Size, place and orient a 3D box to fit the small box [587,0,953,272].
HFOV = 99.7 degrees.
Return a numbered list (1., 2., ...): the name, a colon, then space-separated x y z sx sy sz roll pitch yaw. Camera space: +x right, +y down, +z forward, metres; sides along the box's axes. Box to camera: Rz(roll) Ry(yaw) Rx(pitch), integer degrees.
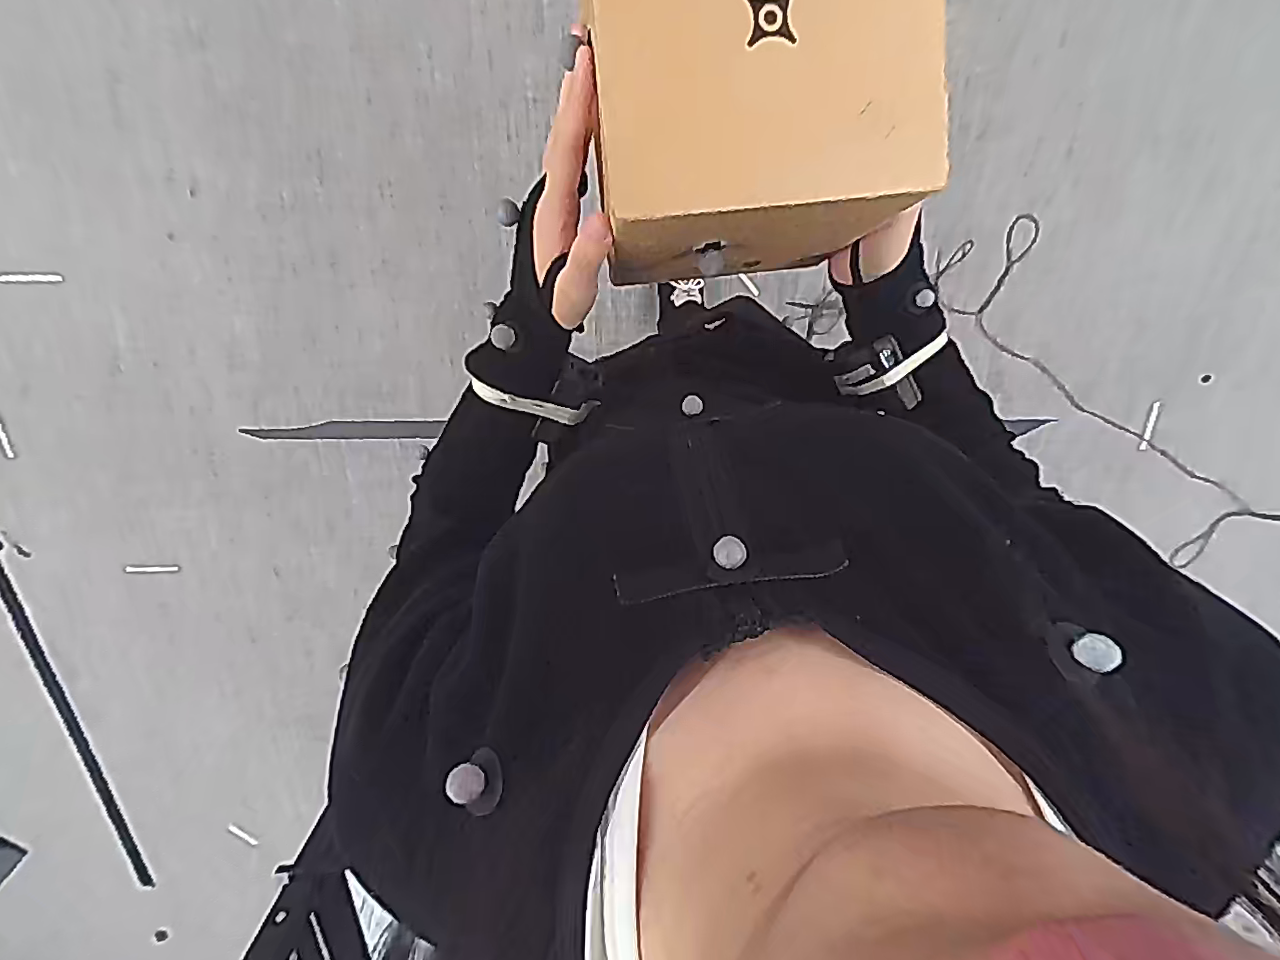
1. small box: 0.058 -0.233 0.324 0.168 0.176 0.179 -7 99 -2
